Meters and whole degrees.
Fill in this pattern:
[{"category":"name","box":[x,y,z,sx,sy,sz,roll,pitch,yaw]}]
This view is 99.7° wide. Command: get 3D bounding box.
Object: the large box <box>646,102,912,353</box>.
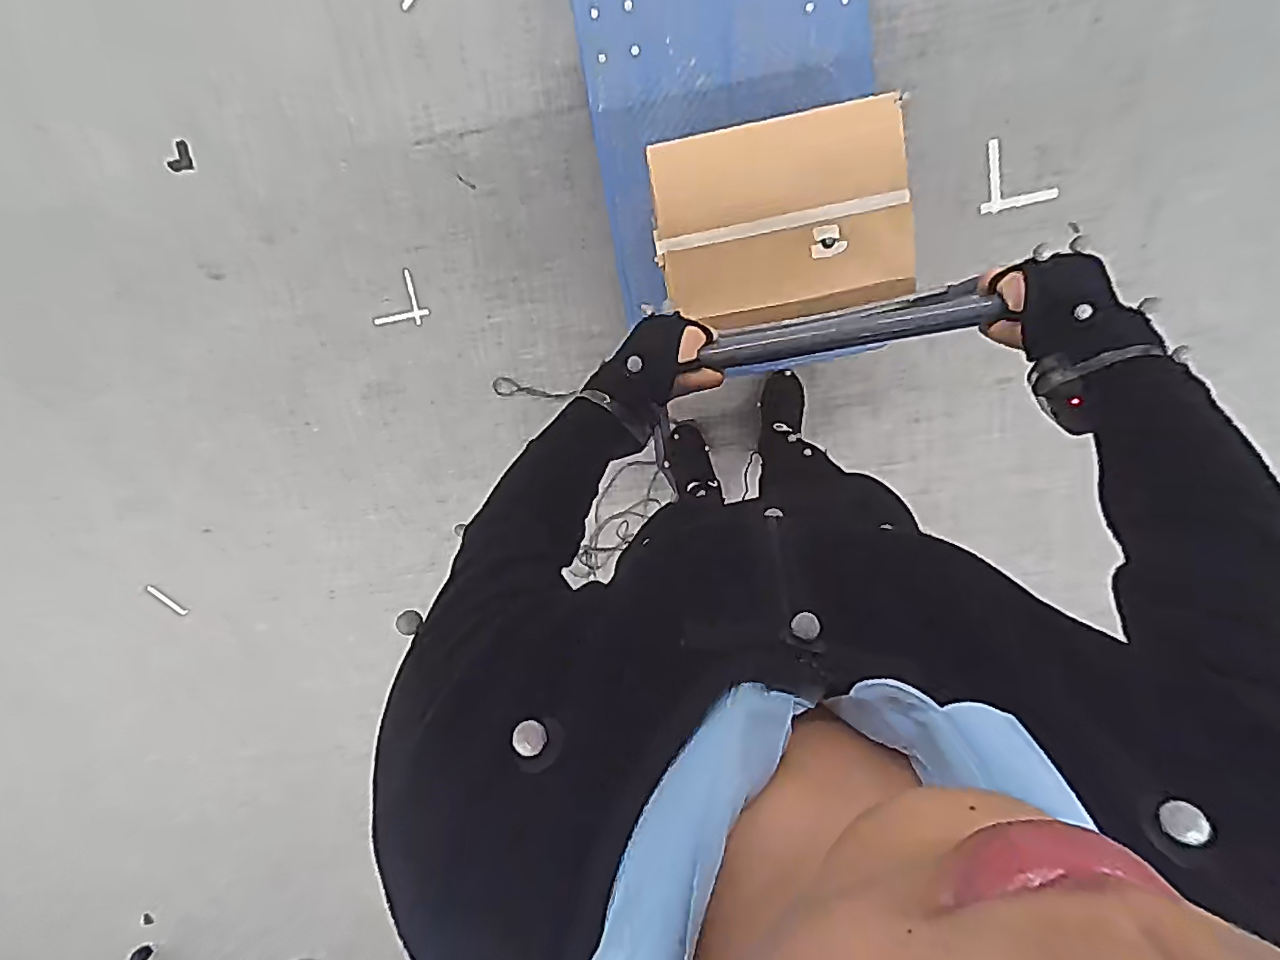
[{"category":"large box","box":[0.238,-0.440,1.037,0.408,0.320,0.320,-9,101,5]}]
